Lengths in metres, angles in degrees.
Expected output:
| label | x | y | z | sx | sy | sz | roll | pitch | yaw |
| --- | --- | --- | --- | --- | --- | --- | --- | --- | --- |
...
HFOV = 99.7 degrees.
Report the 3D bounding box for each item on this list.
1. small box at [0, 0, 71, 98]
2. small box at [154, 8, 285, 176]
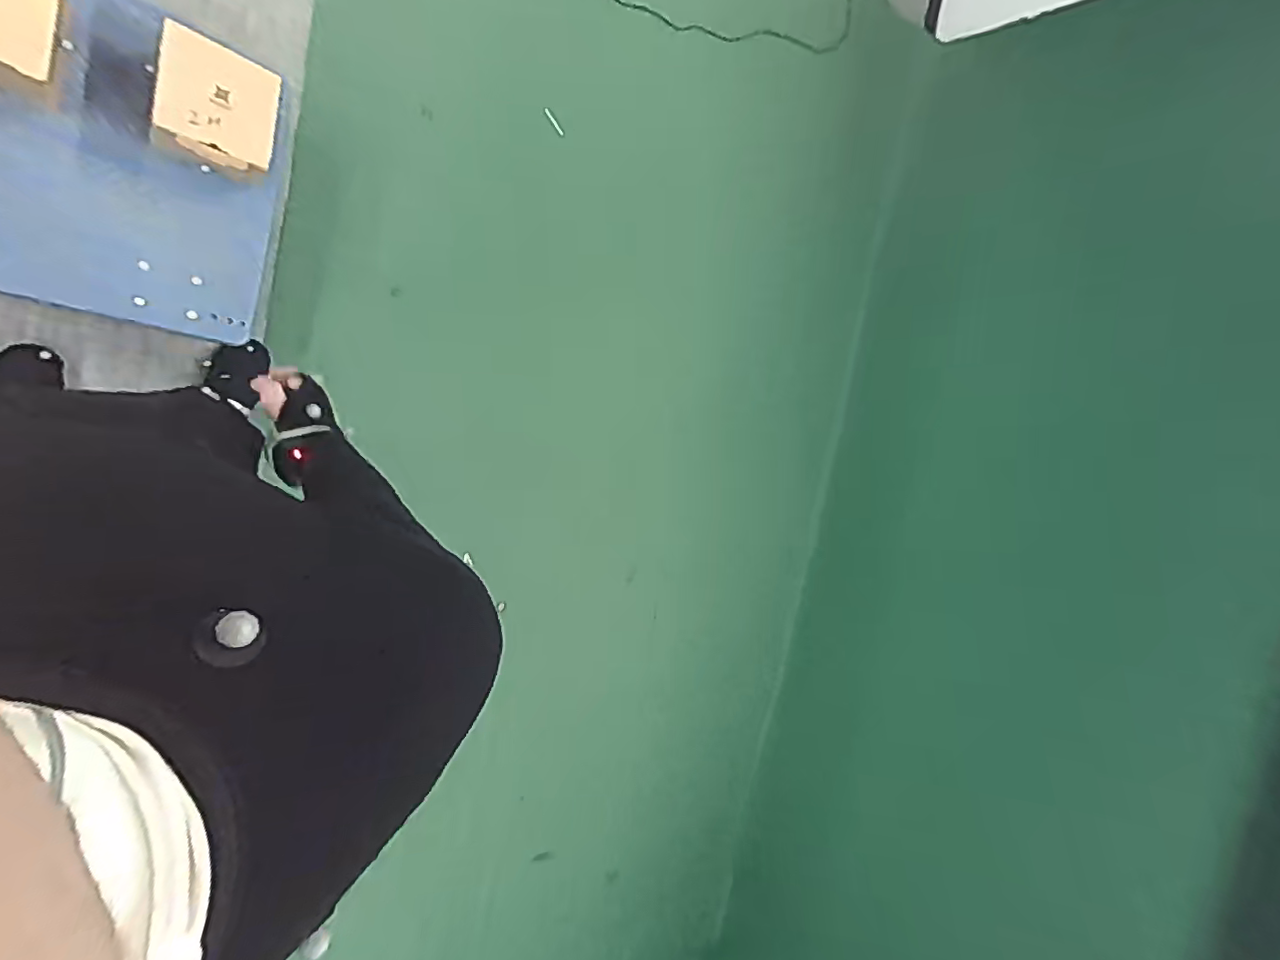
| label | x | y | z | sx | sy | sz | roll | pitch | yaw |
| --- | --- | --- | --- | --- | --- | --- | --- | --- | --- |
| small box | -0.988 | -0.729 | 0.815 | 0.168 | 0.176 | 0.179 | 8 | 97 | -46 |
| small box | -0.789 | -0.707 | 1.011 | 0.168 | 0.176 | 0.179 | 7 | 97 | -44 |
